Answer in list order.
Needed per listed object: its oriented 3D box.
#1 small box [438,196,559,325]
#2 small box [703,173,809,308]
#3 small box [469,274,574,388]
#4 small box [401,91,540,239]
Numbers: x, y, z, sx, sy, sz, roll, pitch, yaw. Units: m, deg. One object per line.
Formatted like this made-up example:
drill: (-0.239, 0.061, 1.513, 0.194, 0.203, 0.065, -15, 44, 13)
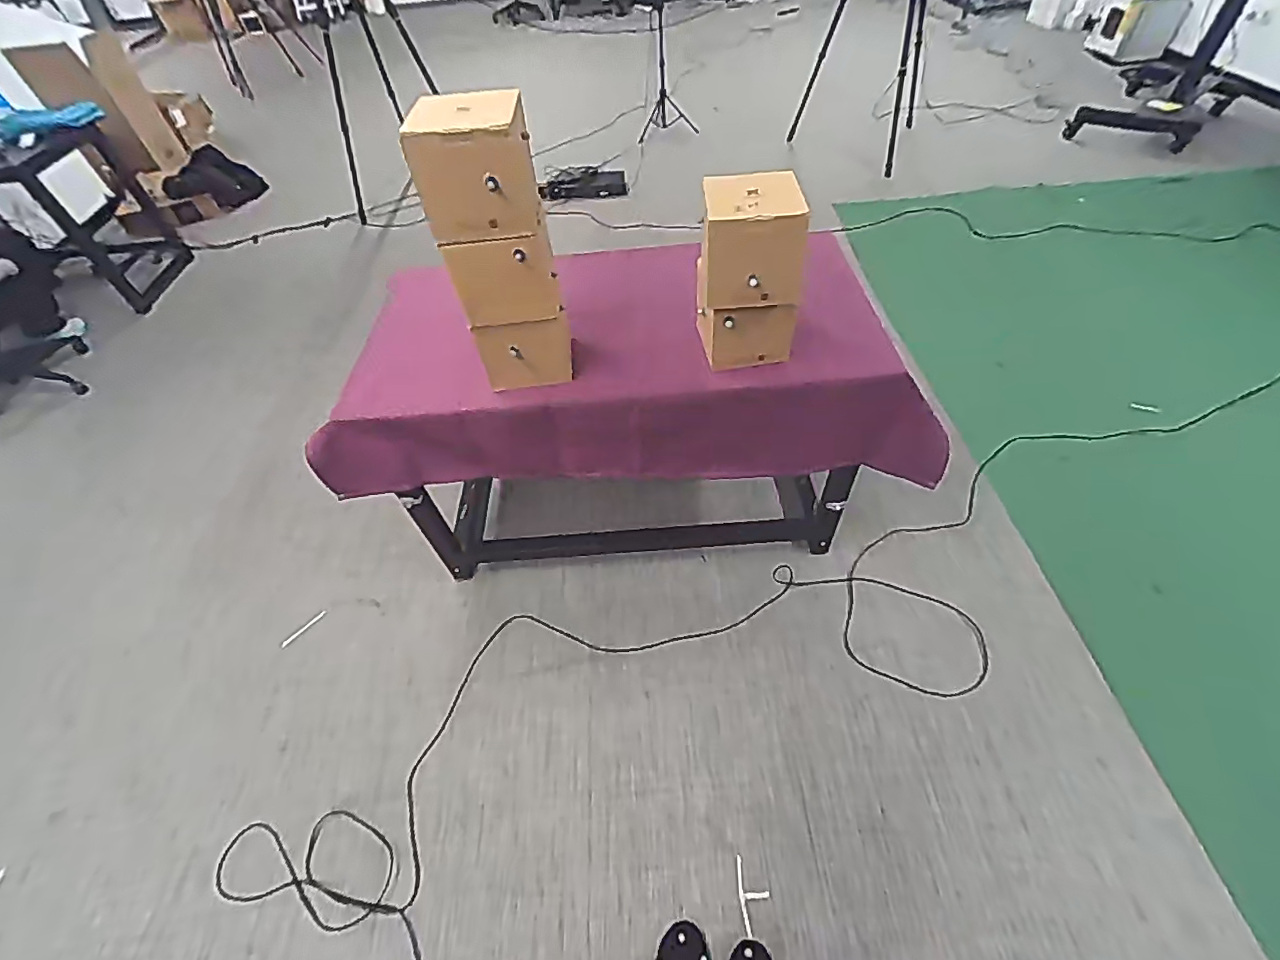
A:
small box: (-0.256, -0.410, 1.022, 0.179, 0.176, 0.168, -6, 50, -1)
small box: (0.202, -0.438, 0.993, 0.168, 0.176, 0.179, -2, 50, 5)
small box: (-0.243, -0.312, 1.150, 0.179, 0.176, 0.168, -7, 51, 0)
small box: (-0.267, -0.516, 0.898, 0.168, 0.176, 0.179, -4, 49, 0)
